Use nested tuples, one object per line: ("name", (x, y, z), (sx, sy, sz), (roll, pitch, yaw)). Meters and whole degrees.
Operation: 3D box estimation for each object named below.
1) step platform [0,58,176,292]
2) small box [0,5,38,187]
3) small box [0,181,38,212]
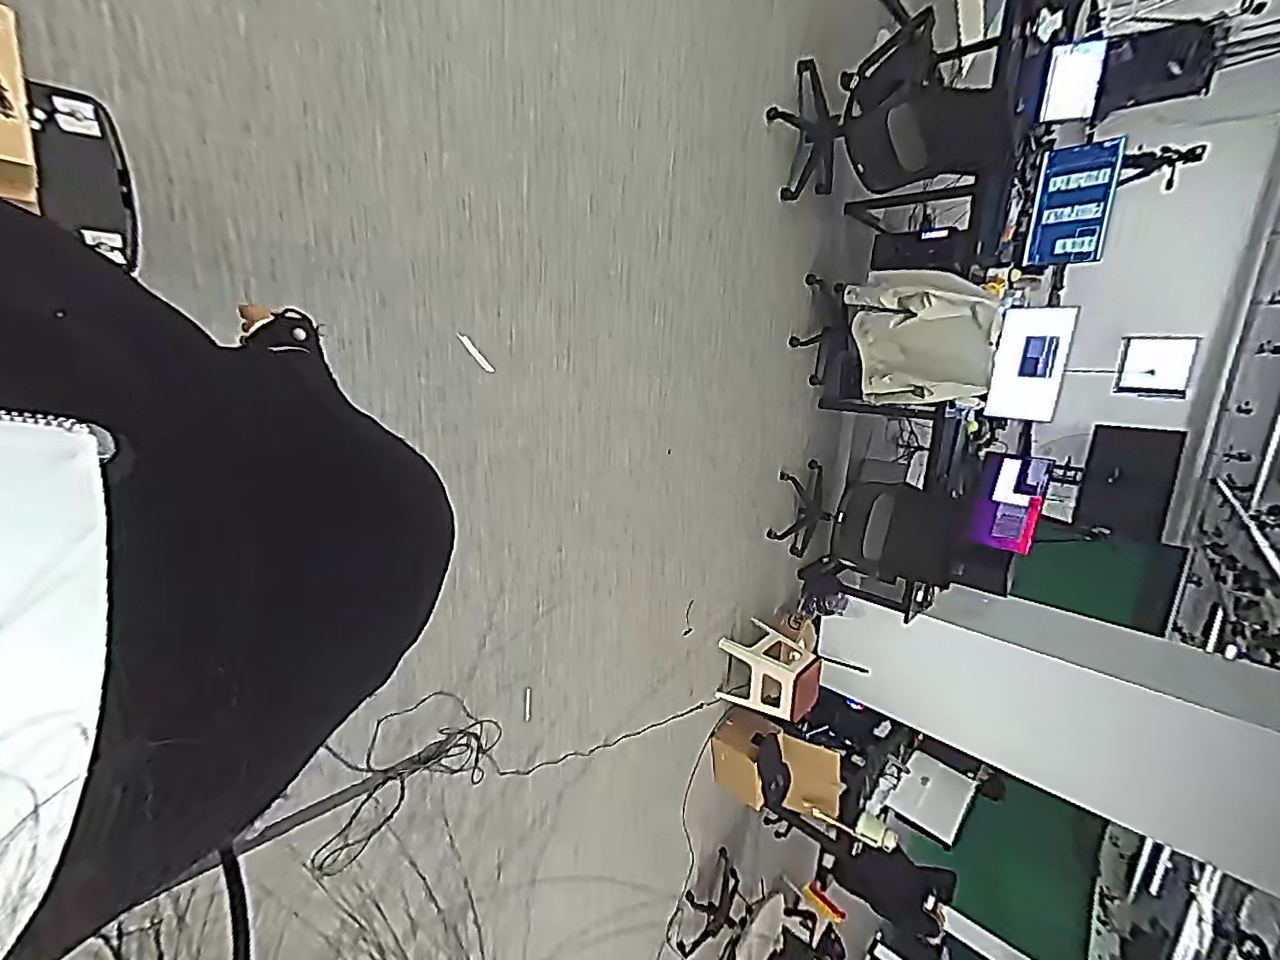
("step platform", (-1.000, -0.392, 0.625), (0.684, 0.204, 0.286), (-14, 110, -46))
("small box", (-0.824, -0.453, 0.612), (0.179, 0.176, 0.168), (-8, 106, -46))
("small box", (-0.946, -0.466, 0.722), (0.179, 0.176, 0.168), (-9, 107, -44))
